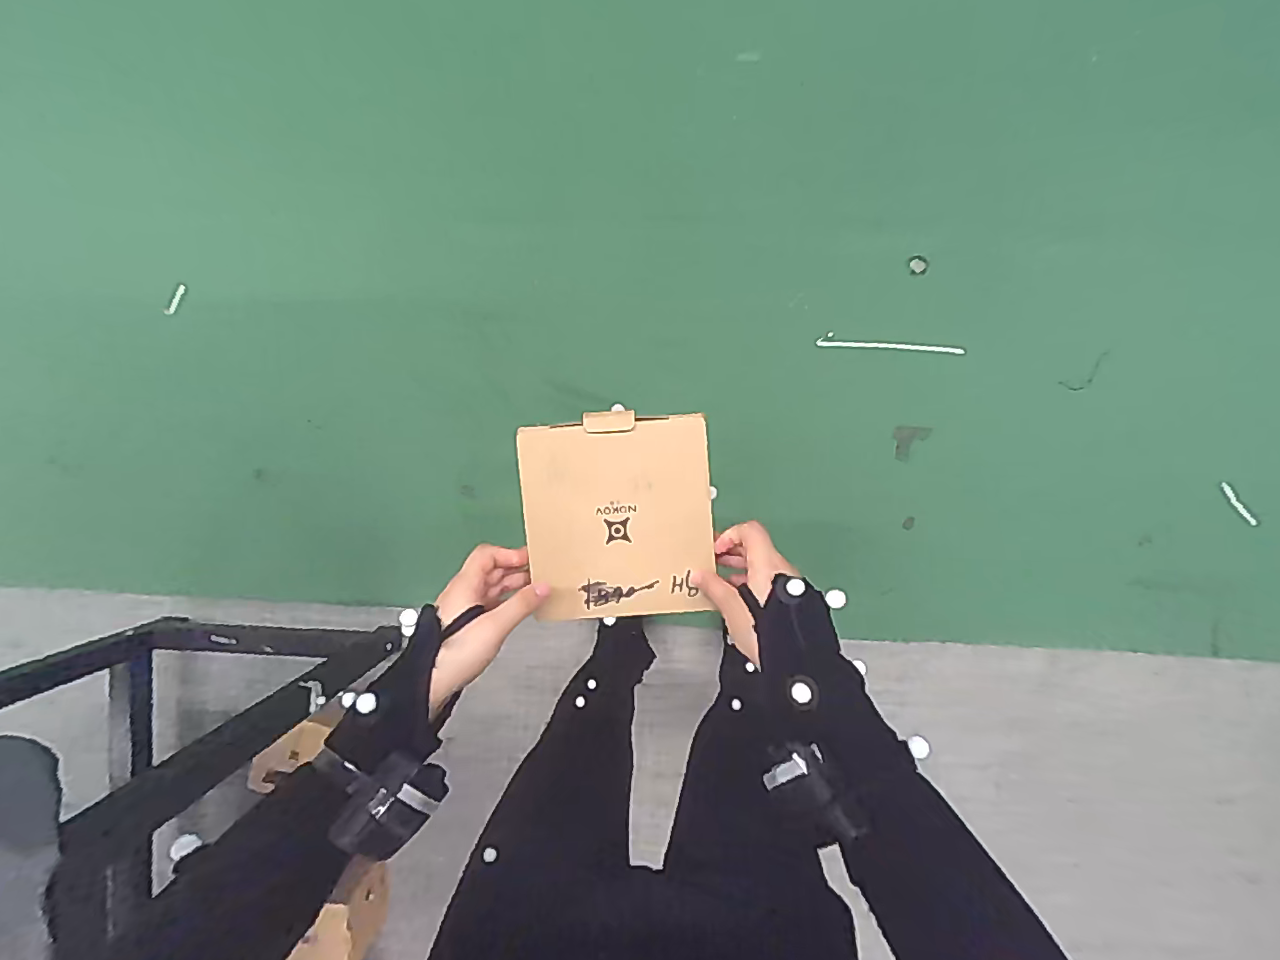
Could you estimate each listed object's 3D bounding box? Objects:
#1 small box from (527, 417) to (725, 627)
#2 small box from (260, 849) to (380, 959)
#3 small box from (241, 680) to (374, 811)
[{"bbox_3d":[-0.010,0.032,0.545,0.168,0.176,0.179,-4,95,2],"label":"small box"},{"bbox_3d":[-0.699,0.958,1.201,0.179,0.176,0.168,1,92,3],"label":"small box"},{"bbox_3d":[-0.714,0.571,1.181,0.168,0.176,0.179,16,92,1],"label":"small box"}]
